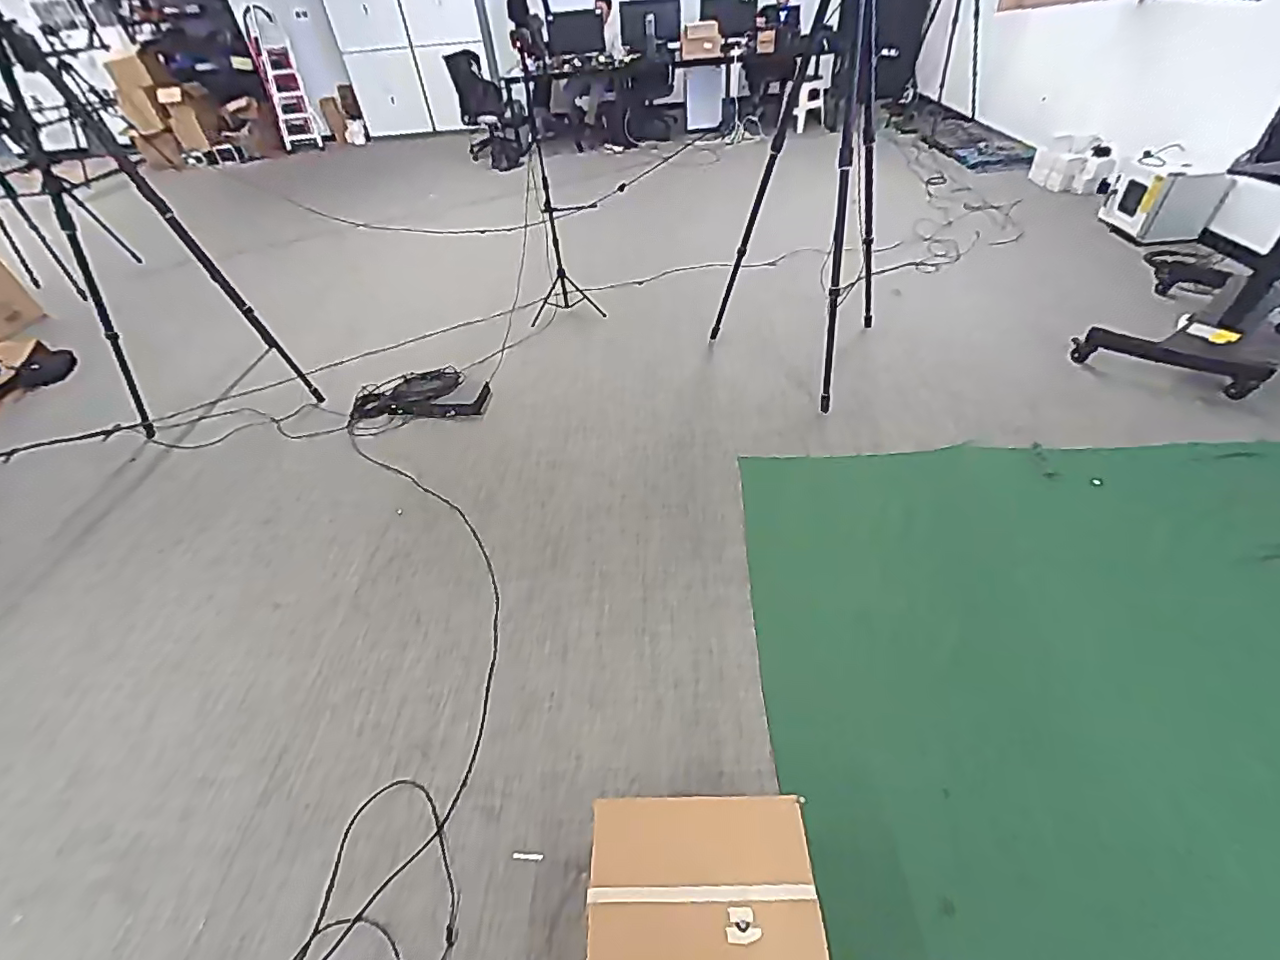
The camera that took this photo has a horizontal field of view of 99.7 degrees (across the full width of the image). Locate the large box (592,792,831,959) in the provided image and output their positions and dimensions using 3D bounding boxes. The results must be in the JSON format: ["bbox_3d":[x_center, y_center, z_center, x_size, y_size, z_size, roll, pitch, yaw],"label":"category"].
[{"bbox_3d":[0.124,0.842,1.067,0.408,0.320,0.320,-2,44,2],"label":"large box"}]
